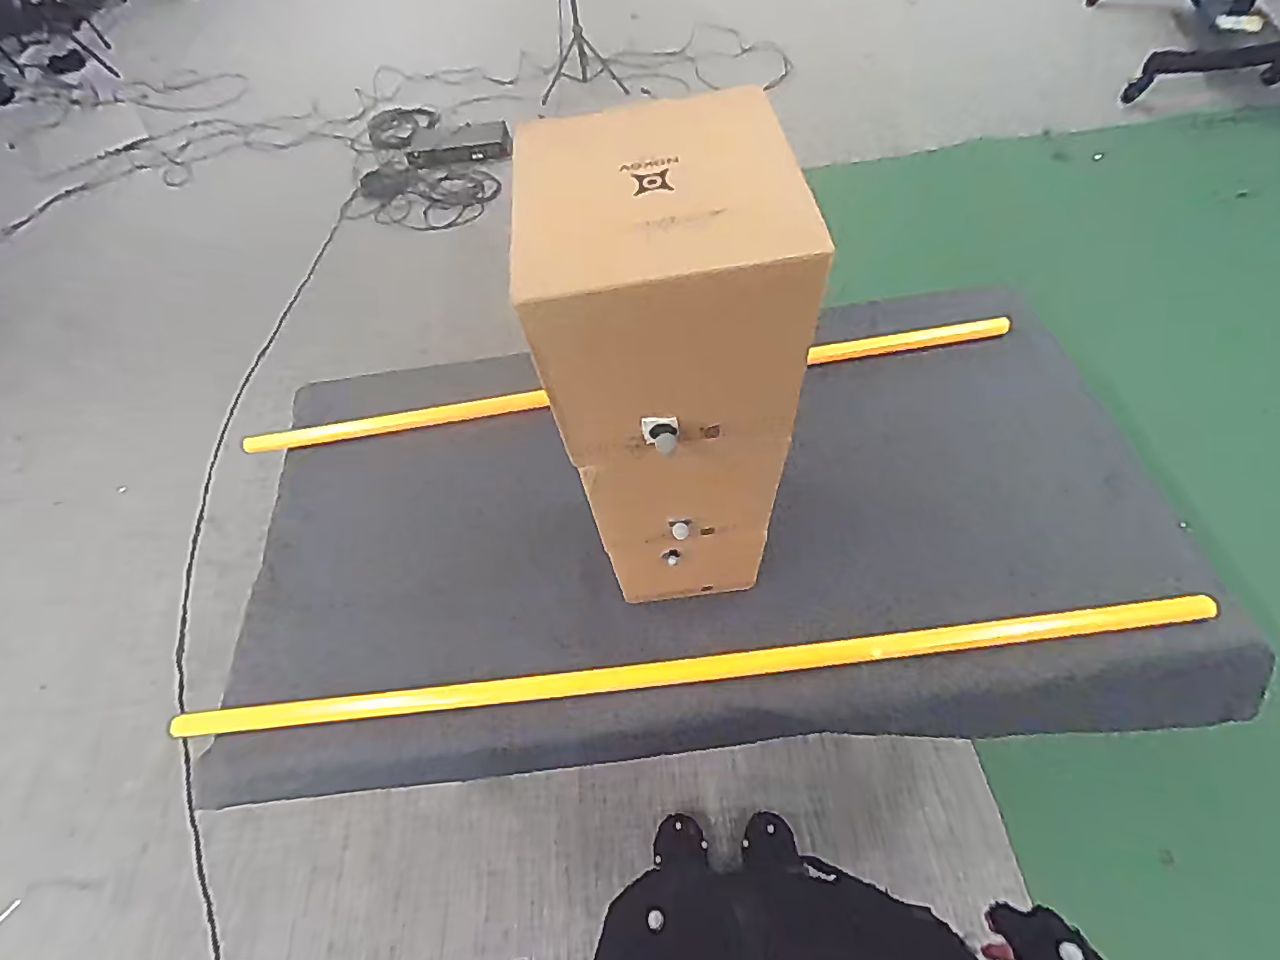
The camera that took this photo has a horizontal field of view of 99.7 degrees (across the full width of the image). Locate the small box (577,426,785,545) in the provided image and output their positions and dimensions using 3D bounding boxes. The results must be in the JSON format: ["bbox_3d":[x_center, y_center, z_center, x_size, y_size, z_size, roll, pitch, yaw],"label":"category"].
[{"bbox_3d":[0.031,-0.056,0.530,0.168,0.176,0.179,-8,60,2],"label":"small box"}]

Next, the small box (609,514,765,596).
[{"bbox_3d":[0.050,0.026,0.671,0.168,0.176,0.179,-8,59,3],"label":"small box"}]

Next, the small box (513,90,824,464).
[{"bbox_3d":[0.015,-0.135,0.390,0.168,0.176,0.179,-9,60,3],"label":"small box"}]
